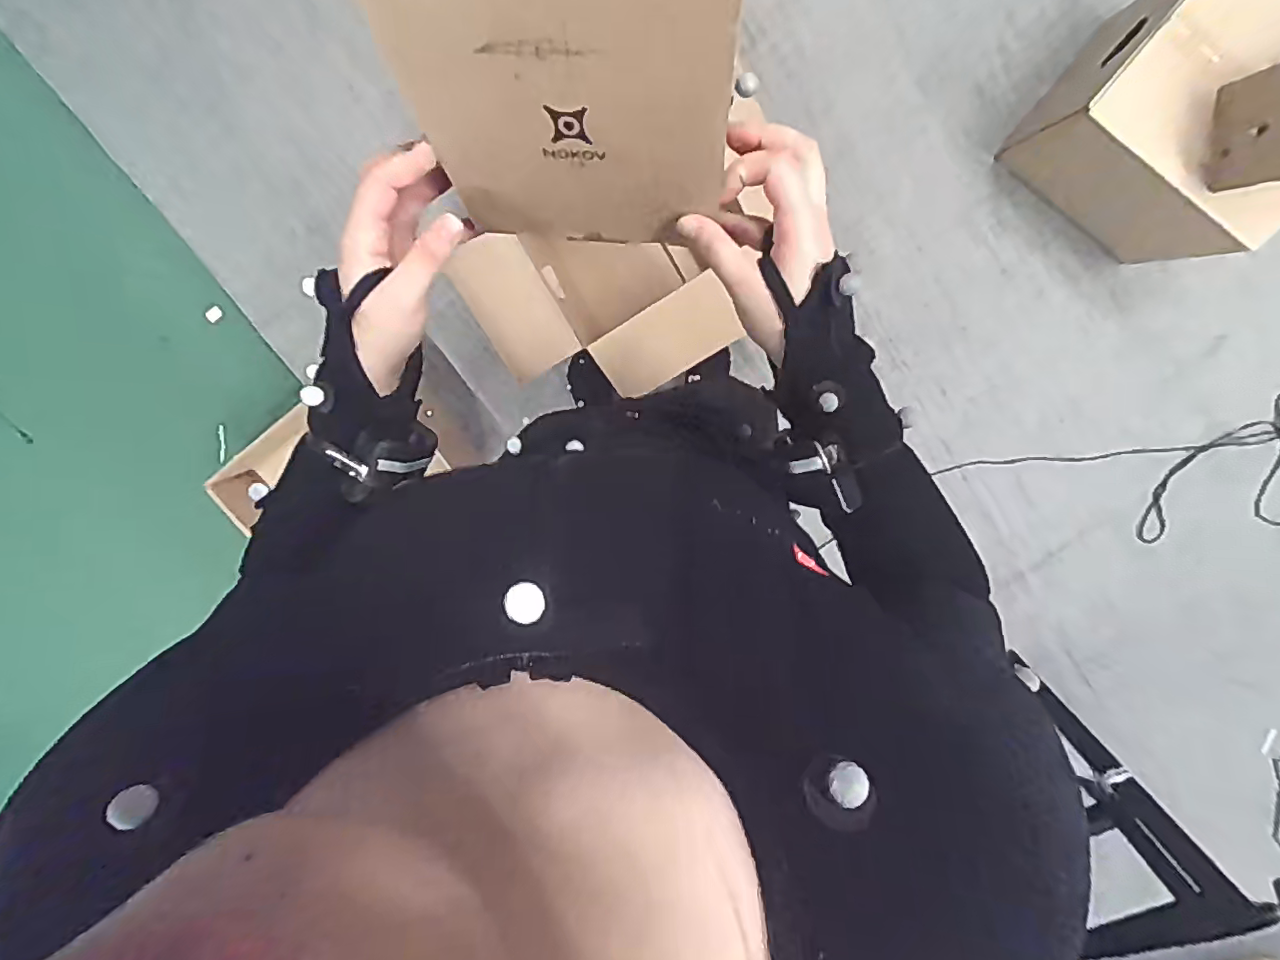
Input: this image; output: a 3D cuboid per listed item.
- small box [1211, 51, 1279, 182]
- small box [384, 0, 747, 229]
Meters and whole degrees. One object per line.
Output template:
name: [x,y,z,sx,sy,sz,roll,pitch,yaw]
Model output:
small box: [1.037,-0.576,0.823,0.179,0.176,0.168,-12,107,11]
small box: [-0.023,-0.276,0.307,0.168,0.179,0.176,5,77,5]
